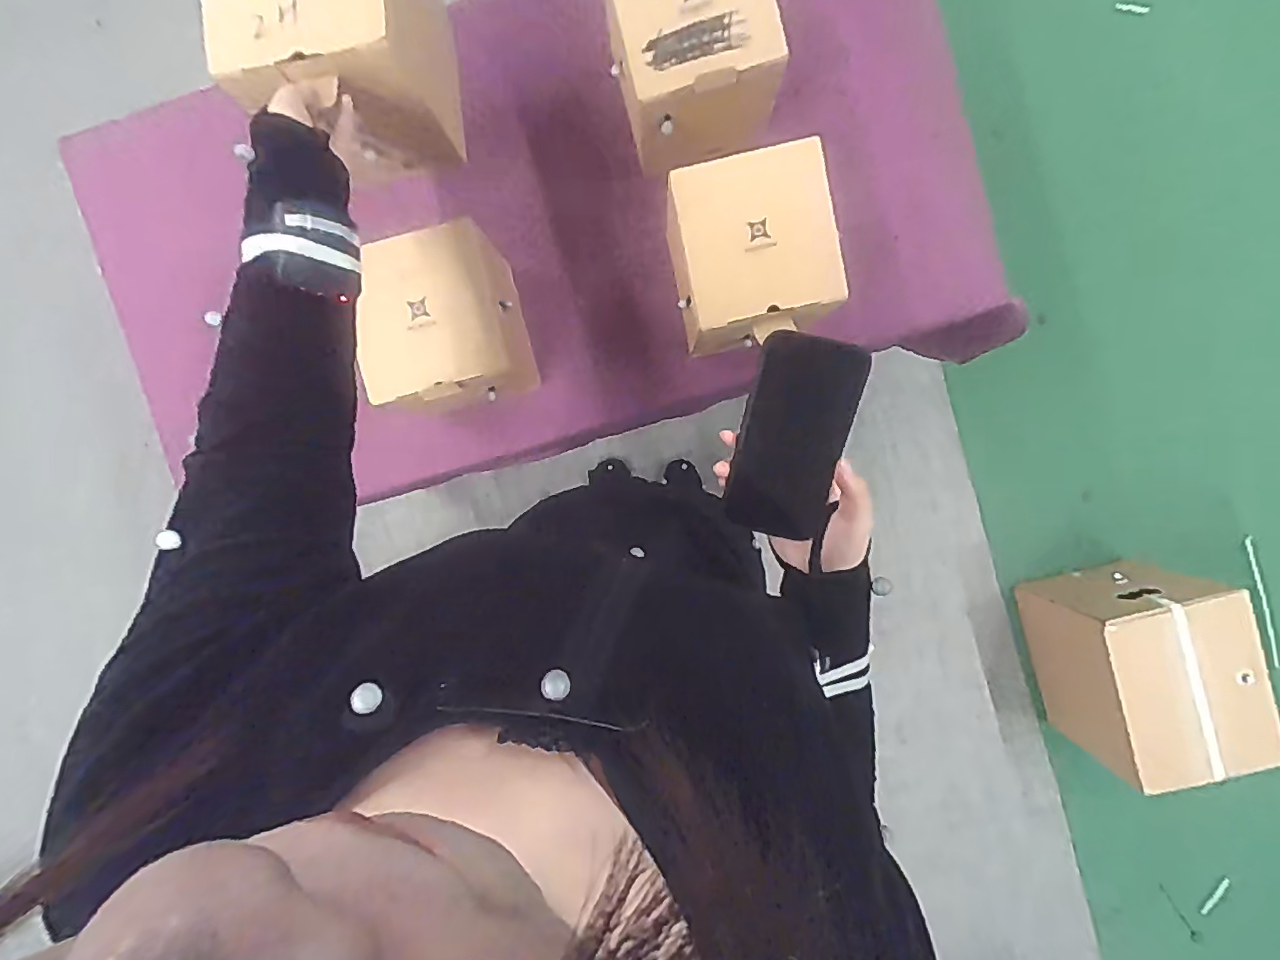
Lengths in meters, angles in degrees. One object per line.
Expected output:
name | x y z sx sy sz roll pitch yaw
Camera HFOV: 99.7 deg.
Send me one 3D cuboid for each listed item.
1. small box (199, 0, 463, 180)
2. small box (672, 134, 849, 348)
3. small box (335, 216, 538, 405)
small box | -0.293 -0.441 0.541 0.168 0.176 0.179 -7 87 5
small box | 0.133 -0.273 0.659 0.168 0.176 0.179 -11 95 3
small box | -0.239 -0.195 0.681 0.168 0.176 0.179 -13 93 3
